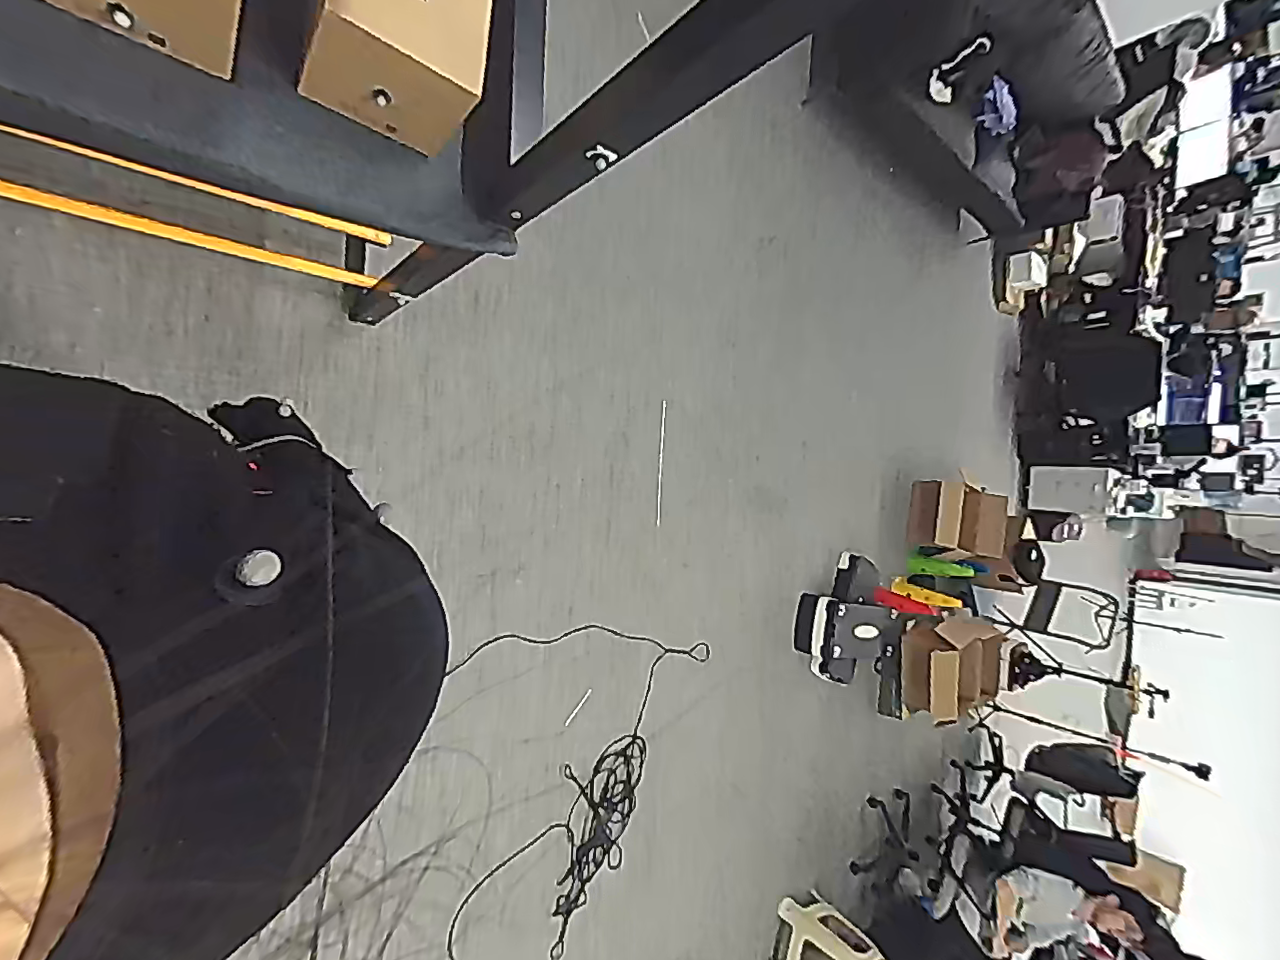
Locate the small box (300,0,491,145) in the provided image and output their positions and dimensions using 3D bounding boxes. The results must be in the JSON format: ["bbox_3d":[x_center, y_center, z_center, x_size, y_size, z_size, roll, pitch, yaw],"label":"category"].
[{"bbox_3d":[-0.295,-0.549,0.649,0.168,0.176,0.179,7,87,-41],"label":"small box"}]
